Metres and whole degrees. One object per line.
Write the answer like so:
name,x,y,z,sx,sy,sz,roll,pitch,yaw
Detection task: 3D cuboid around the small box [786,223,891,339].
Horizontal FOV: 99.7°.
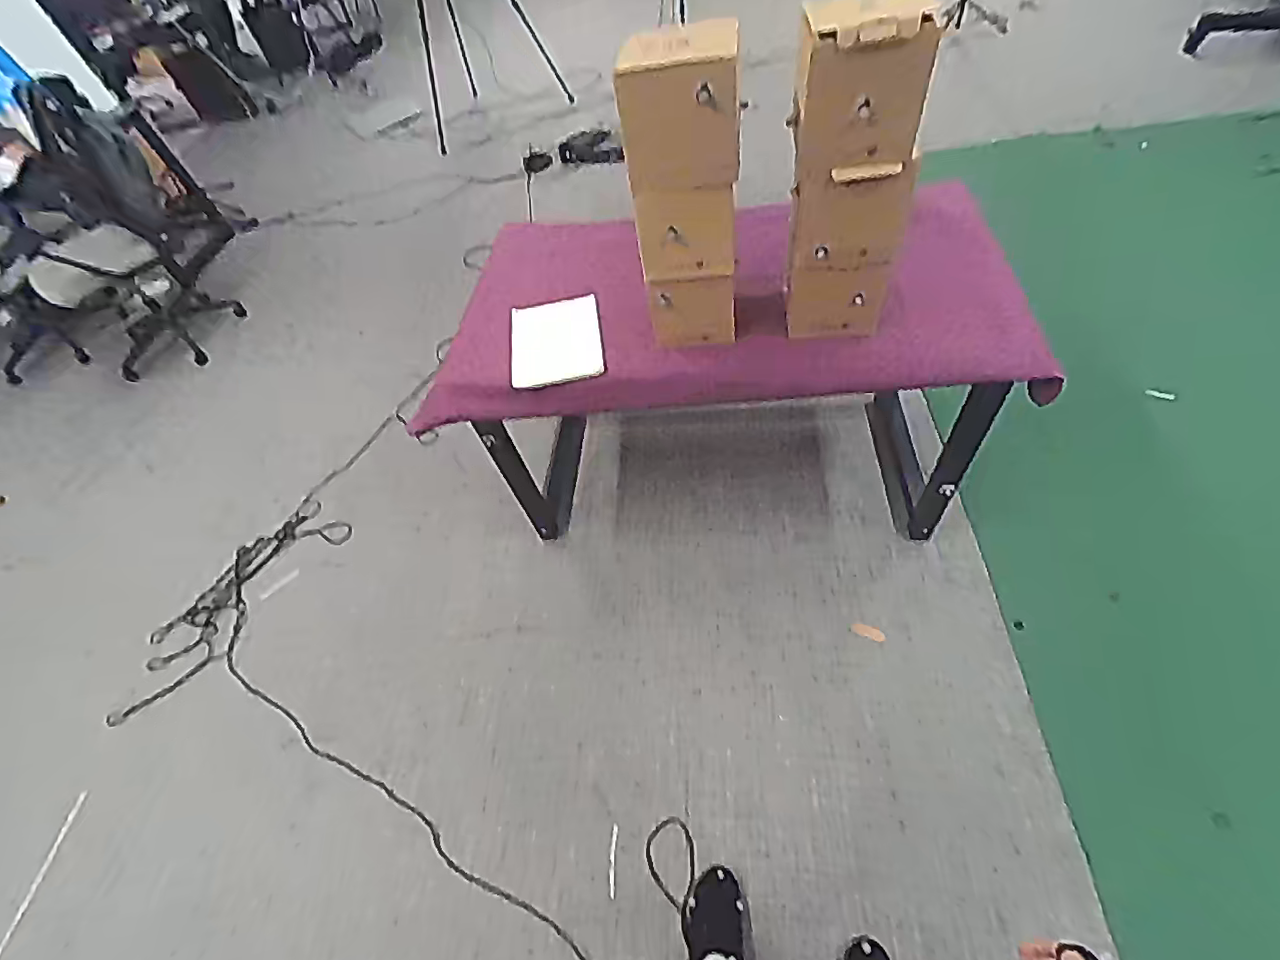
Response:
small box,0.384,-0.395,1.076,0.168,0.176,0.179,0,53,9

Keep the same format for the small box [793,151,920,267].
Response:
small box,0.364,-0.489,0.944,0.168,0.176,0.179,-2,52,9

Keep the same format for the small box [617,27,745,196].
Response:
small box,0.074,-0.574,0.853,0.179,0.176,0.168,1,53,12

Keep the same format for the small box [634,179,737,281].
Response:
small box,0.092,-0.481,0.989,0.168,0.176,0.179,-1,53,10

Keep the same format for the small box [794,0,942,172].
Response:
small box,0.329,-0.587,0.816,0.168,0.176,0.179,0,54,9
